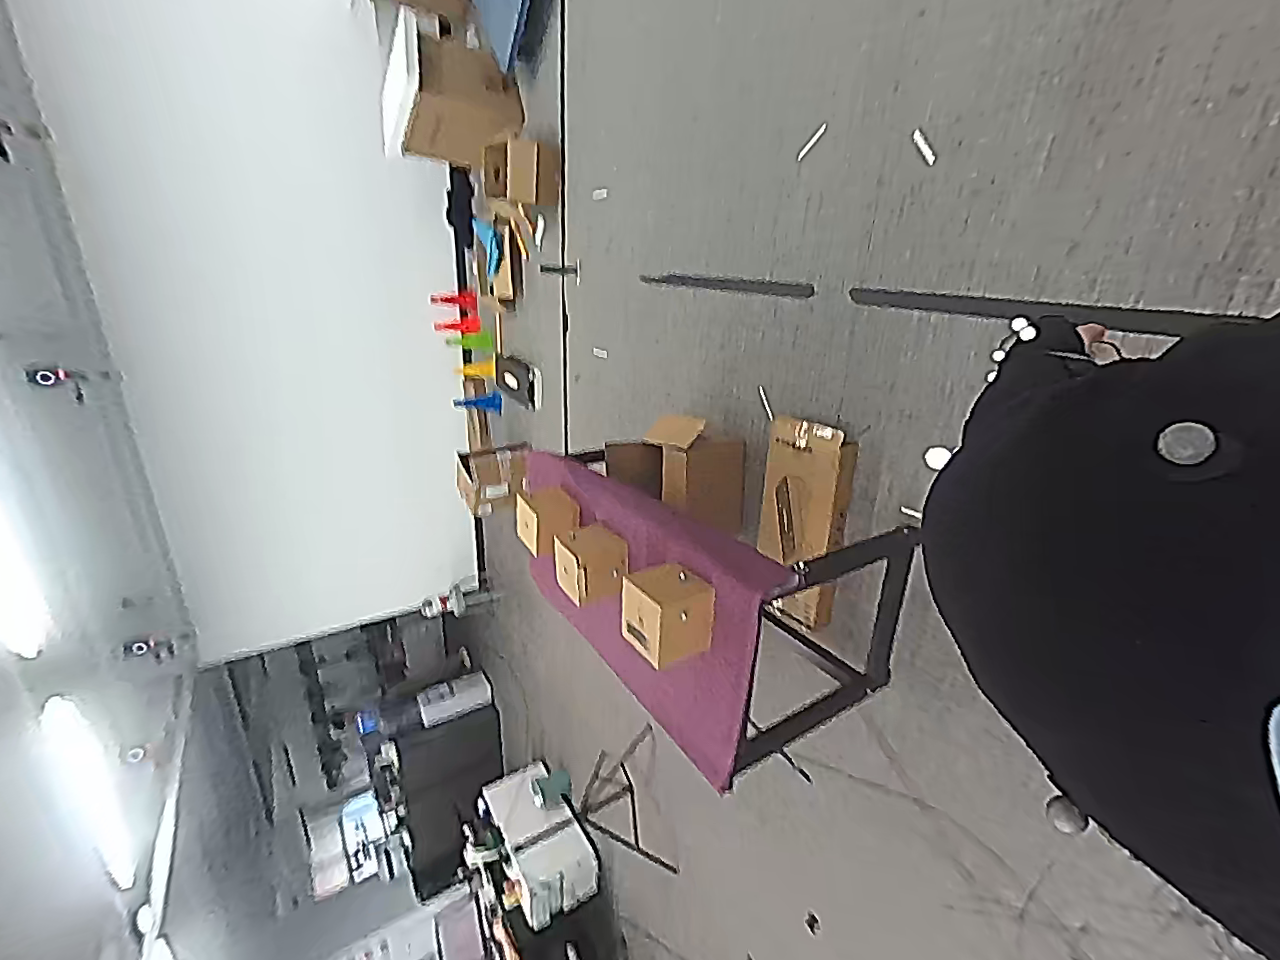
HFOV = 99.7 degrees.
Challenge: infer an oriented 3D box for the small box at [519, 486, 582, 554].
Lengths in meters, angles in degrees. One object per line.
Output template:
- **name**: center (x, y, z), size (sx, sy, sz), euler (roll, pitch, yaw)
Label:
- **small box**: center (-0.318, 0.134, 1.919), size (0.179, 0.176, 0.168), euler (37, 129, 48)

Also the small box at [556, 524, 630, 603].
- **small box**: center (-0.145, 0.250, 1.677), size (0.179, 0.176, 0.168), euler (28, 125, 52)
